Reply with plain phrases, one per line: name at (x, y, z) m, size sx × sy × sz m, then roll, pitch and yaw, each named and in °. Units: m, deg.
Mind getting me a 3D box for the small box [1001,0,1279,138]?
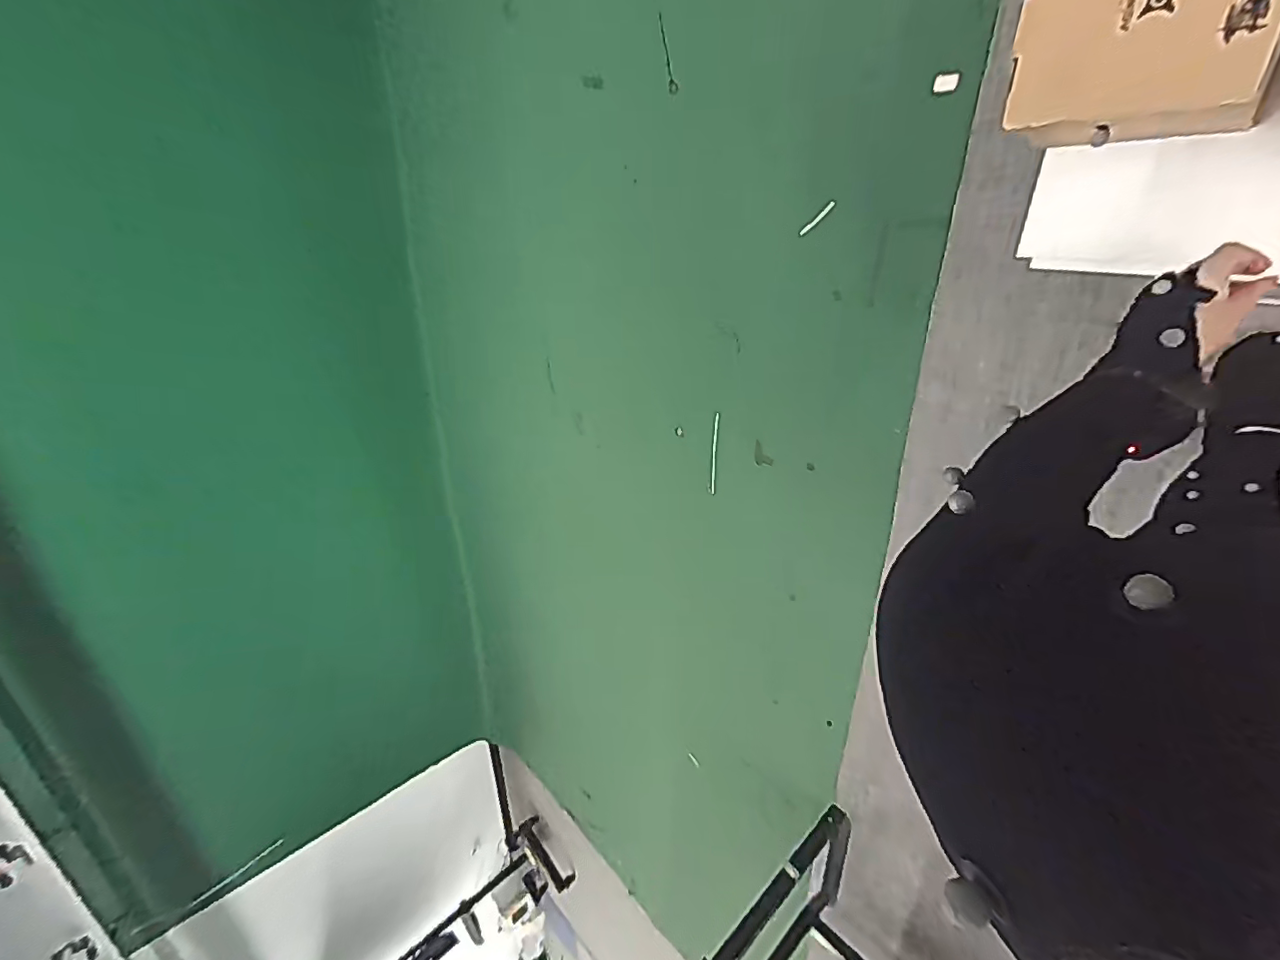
small box at (0.473, -0.423, 0.492) m, size 0.179 × 0.176 × 0.168 m, roll 23°, pitch 123°, yaw 41°
